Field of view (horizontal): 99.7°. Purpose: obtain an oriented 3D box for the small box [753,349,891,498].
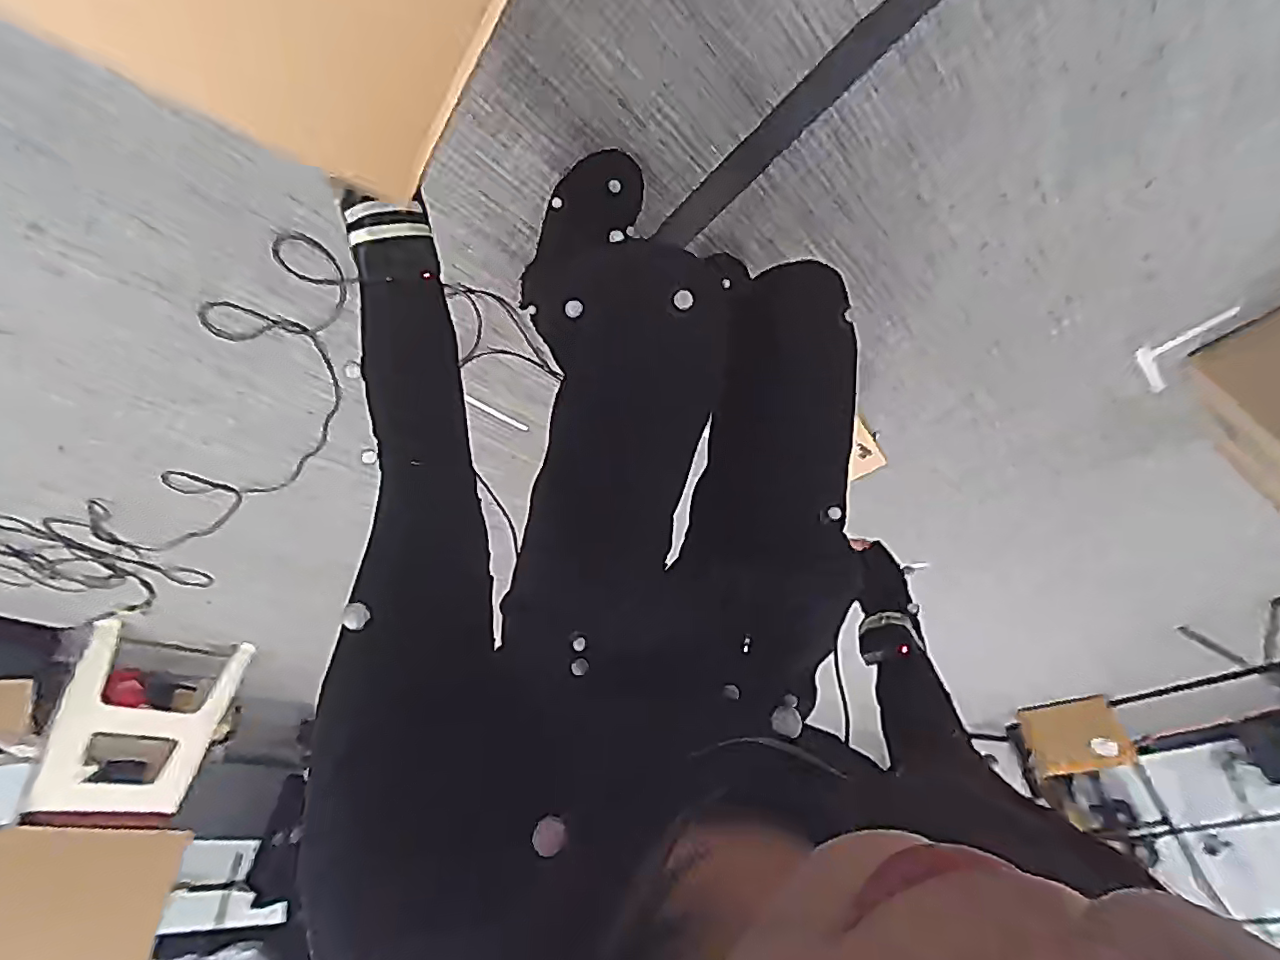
[{"bbox_3d":[0.320,-0.100,0.982,0.179,0.176,0.168,-28,137,27],"label":"small box"}]
